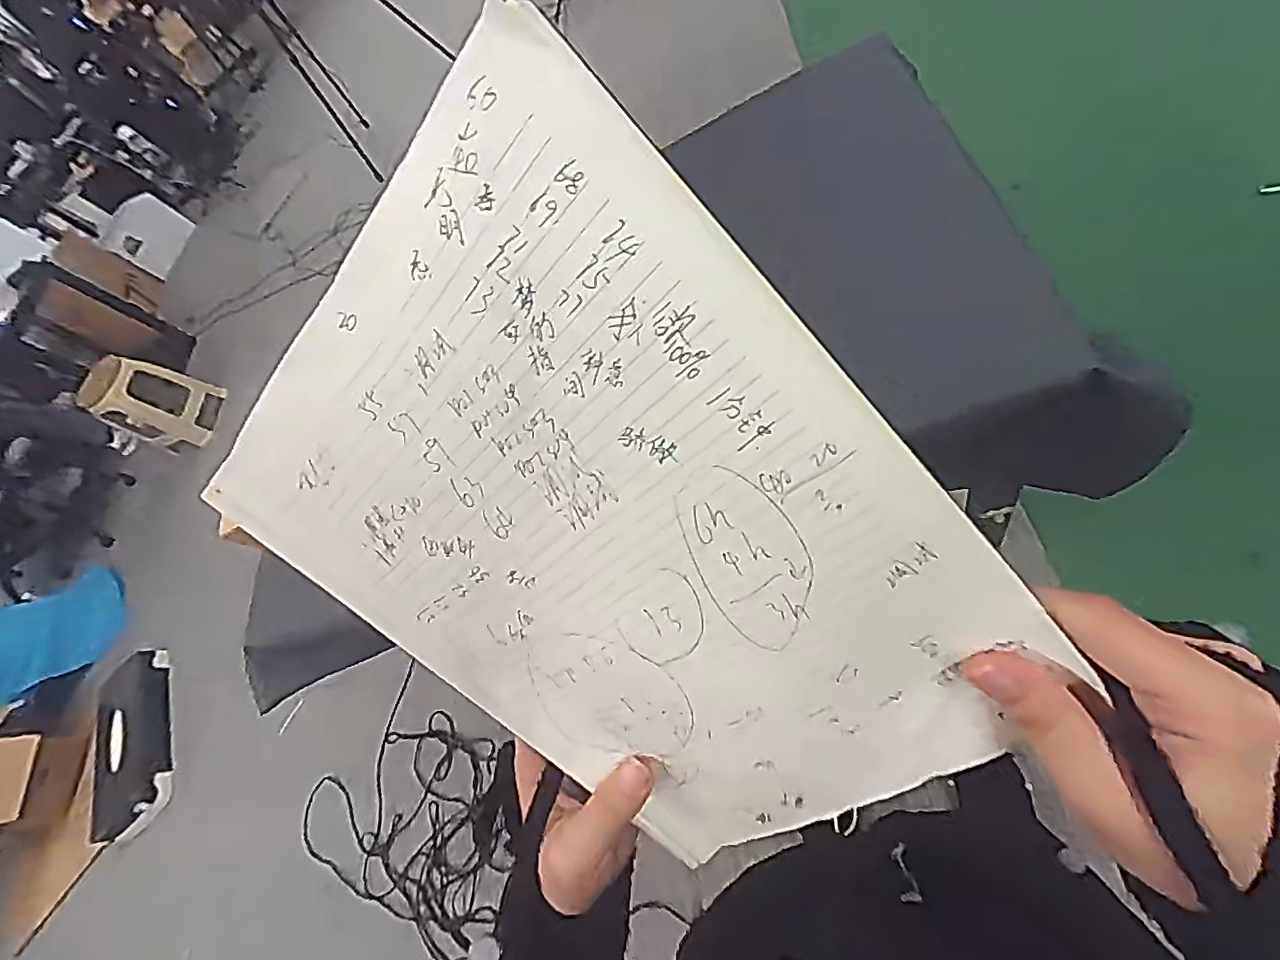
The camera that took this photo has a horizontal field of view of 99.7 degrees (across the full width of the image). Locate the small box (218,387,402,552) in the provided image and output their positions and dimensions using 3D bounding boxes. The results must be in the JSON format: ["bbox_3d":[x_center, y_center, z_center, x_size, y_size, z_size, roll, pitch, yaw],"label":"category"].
[{"bbox_3d":[-0.487,-0.002,0.823,0.168,0.176,0.179,-22,58,16],"label":"small box"}]
